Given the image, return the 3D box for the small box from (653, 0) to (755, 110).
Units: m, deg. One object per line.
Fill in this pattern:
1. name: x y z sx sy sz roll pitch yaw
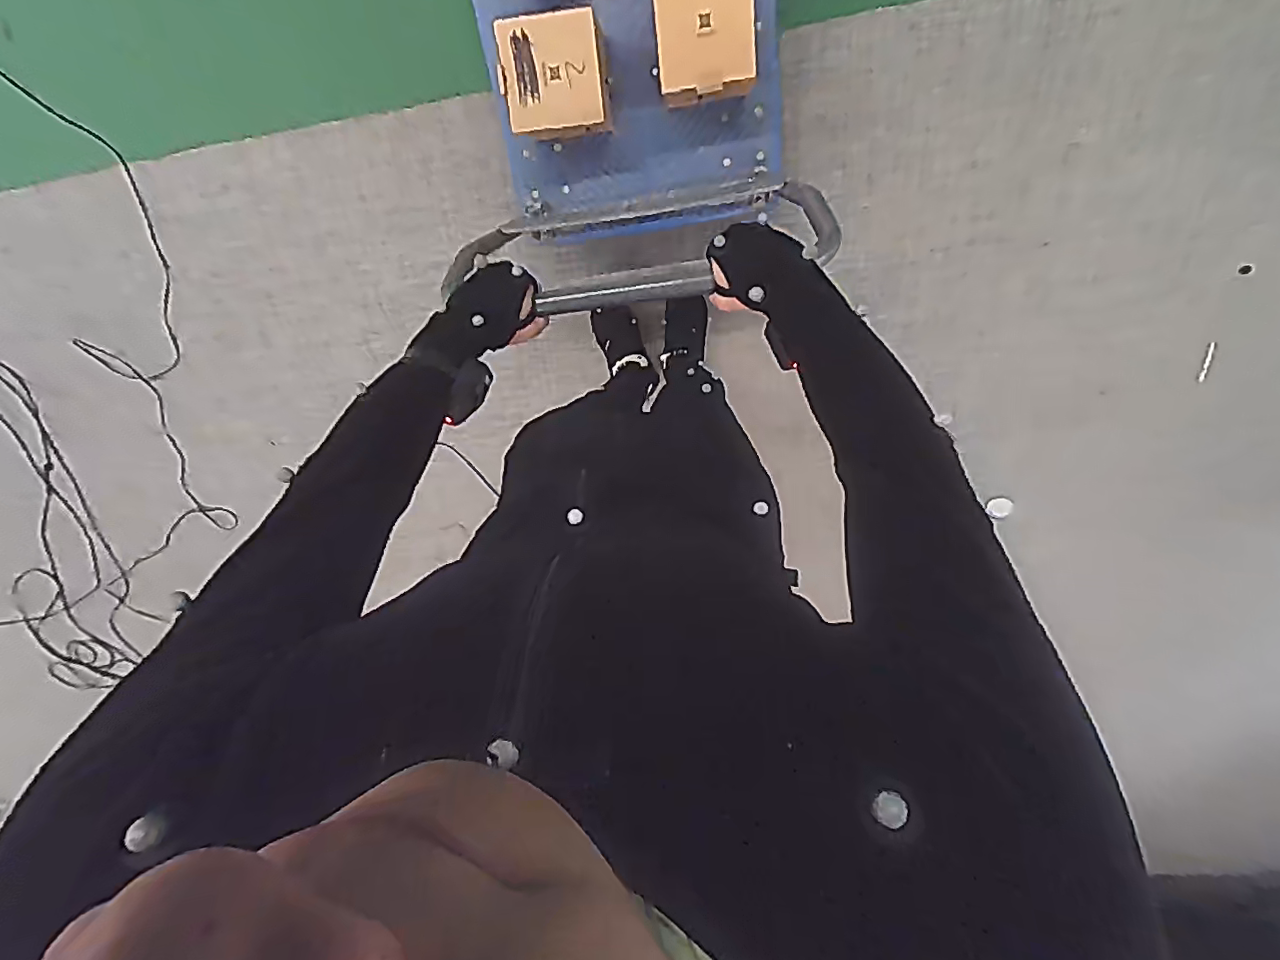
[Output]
1. small box: 0.113 -0.798 0.982 0.168 0.176 0.179 -6 119 7
